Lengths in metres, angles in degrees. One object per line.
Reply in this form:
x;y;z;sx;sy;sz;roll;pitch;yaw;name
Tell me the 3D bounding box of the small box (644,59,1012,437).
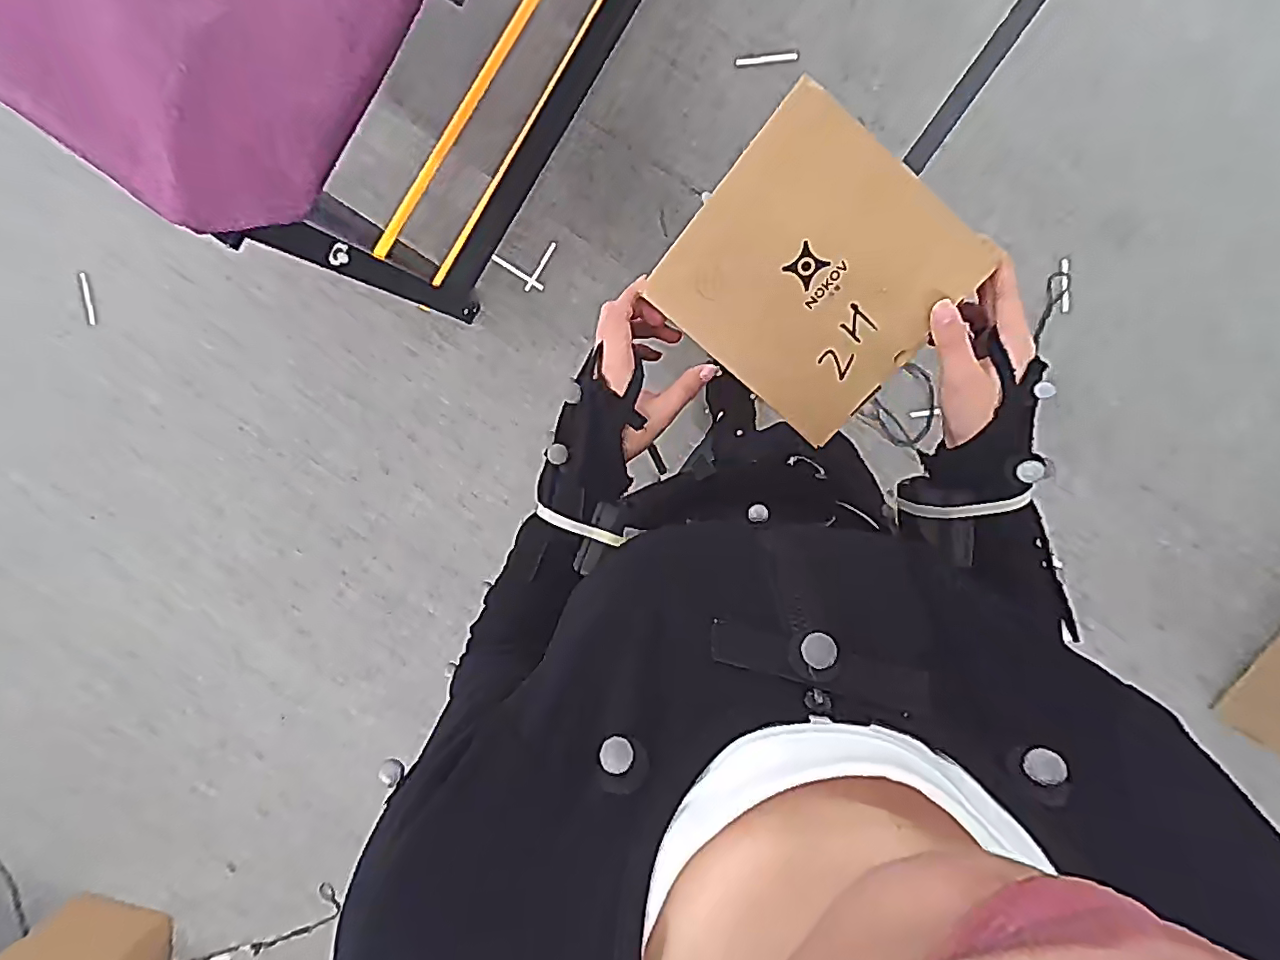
0.126;-0.162;0.427;0.179;0.176;0.168;40;107;-6;small box
